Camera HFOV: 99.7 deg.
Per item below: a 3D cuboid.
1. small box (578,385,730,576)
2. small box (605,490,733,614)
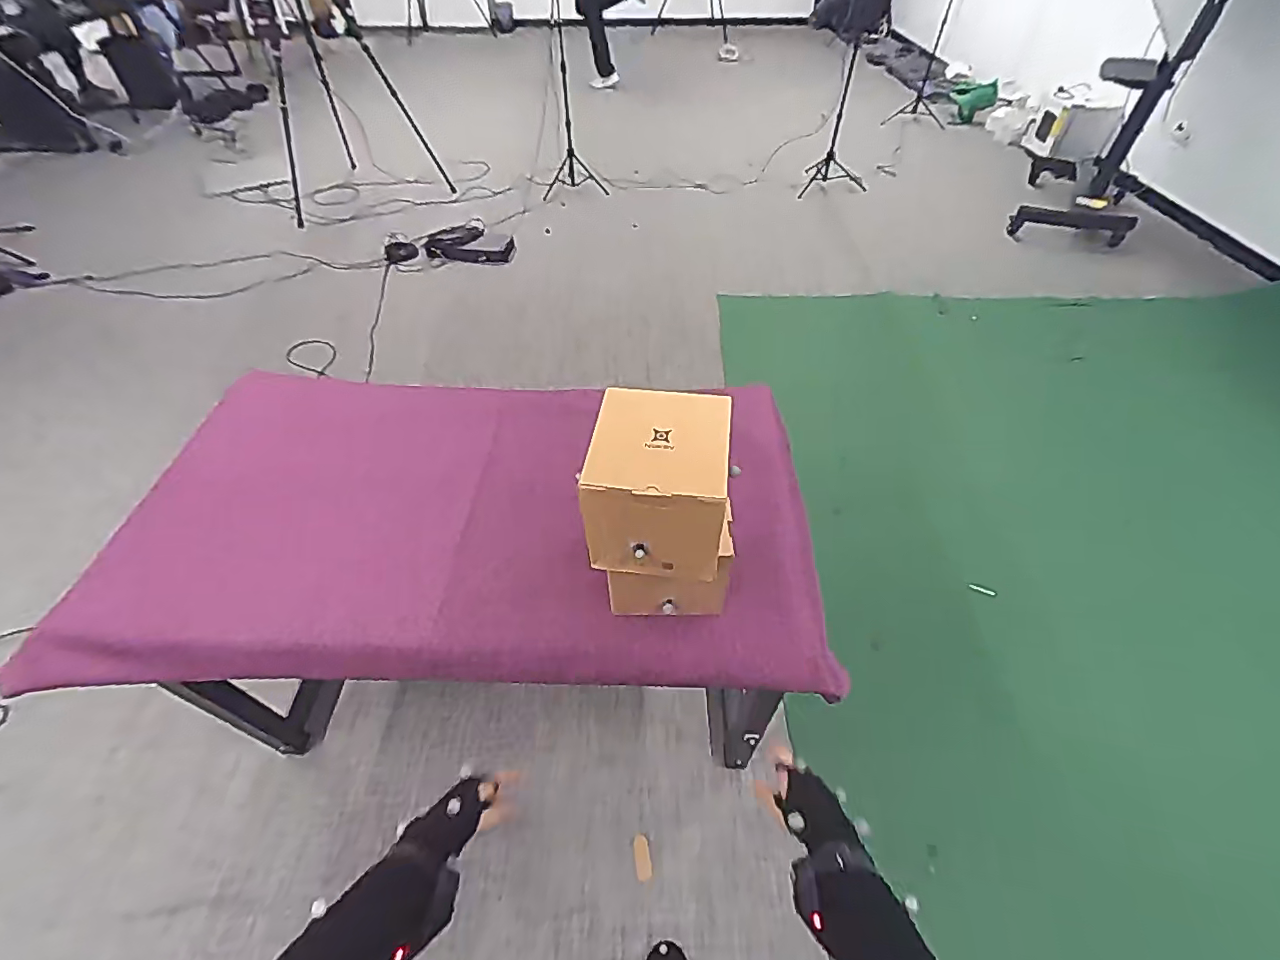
[{"bbox_3d":[0.023,0.001,0.705,0.168,0.176,0.179,5,49,6],"label":"small box"},{"bbox_3d":[0.039,0.096,0.839,0.179,0.176,0.168,0,47,1],"label":"small box"}]
